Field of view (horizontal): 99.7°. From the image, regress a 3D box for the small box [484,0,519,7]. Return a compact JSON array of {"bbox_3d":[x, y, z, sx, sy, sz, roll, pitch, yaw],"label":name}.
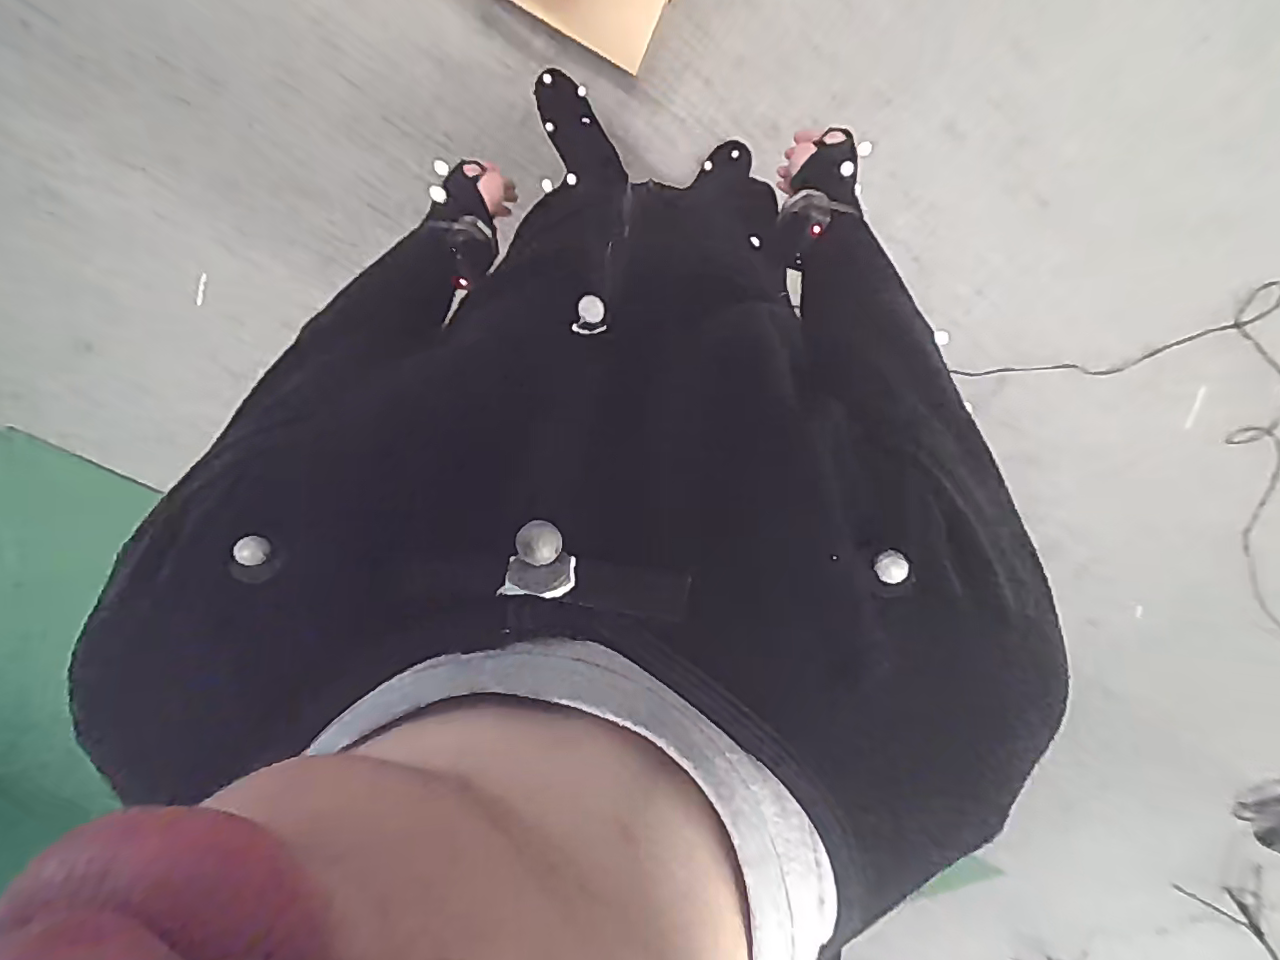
[{"bbox_3d":[-0.238,-0.809,0.751,0.168,0.176,0.179,26,126,-13],"label":"small box"}]
